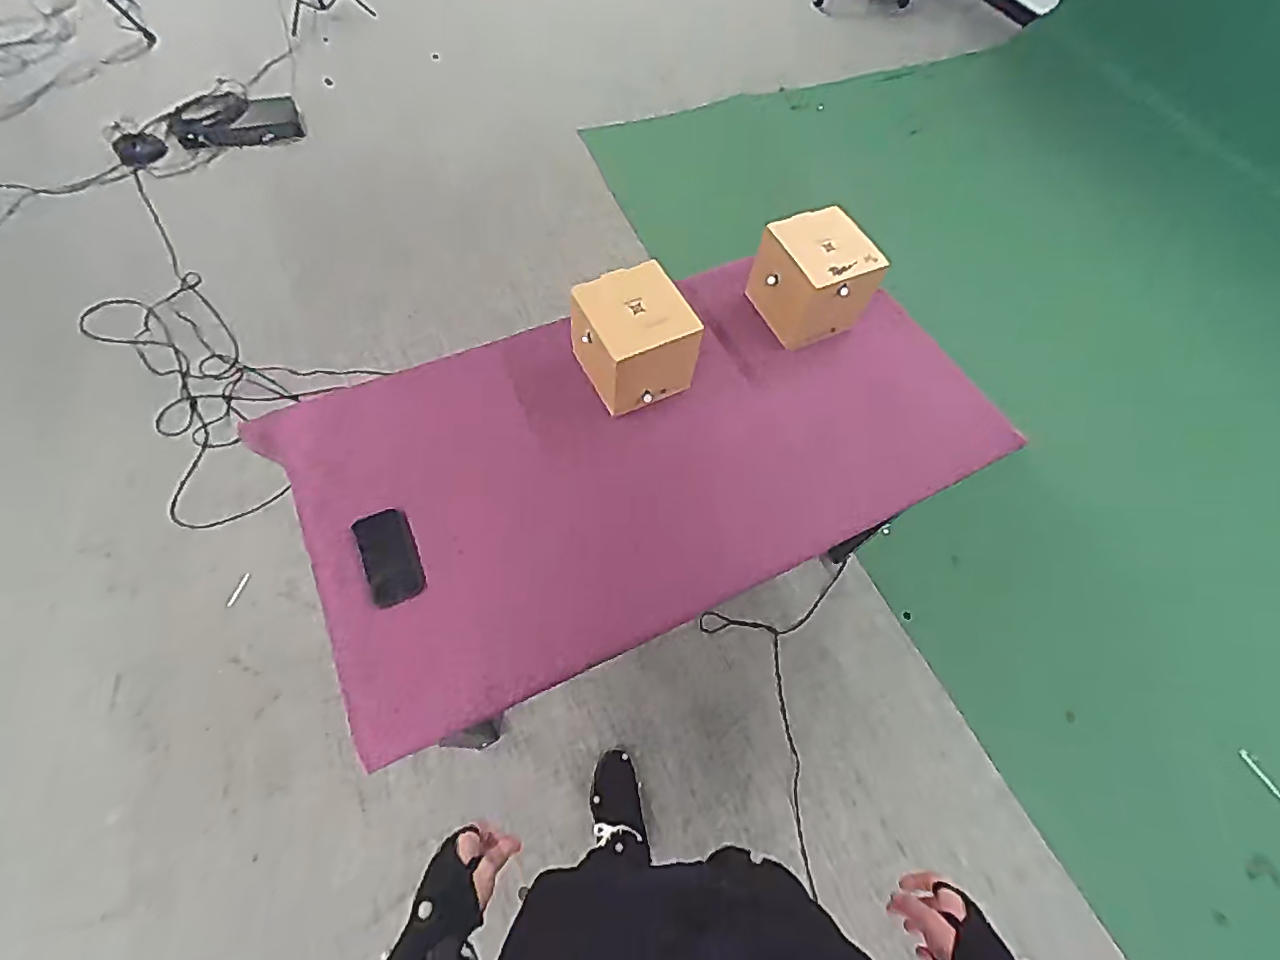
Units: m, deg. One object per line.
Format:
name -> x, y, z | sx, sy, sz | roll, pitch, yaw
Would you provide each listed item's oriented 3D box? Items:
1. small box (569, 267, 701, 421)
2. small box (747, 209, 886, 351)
small box -> -0.015, -0.237, 0.962 | 0.168, 0.176, 0.179 | -24, 67, -14
small box -> 0.332, -0.386, 1.057 | 0.168, 0.176, 0.179 | -23, 66, -13
